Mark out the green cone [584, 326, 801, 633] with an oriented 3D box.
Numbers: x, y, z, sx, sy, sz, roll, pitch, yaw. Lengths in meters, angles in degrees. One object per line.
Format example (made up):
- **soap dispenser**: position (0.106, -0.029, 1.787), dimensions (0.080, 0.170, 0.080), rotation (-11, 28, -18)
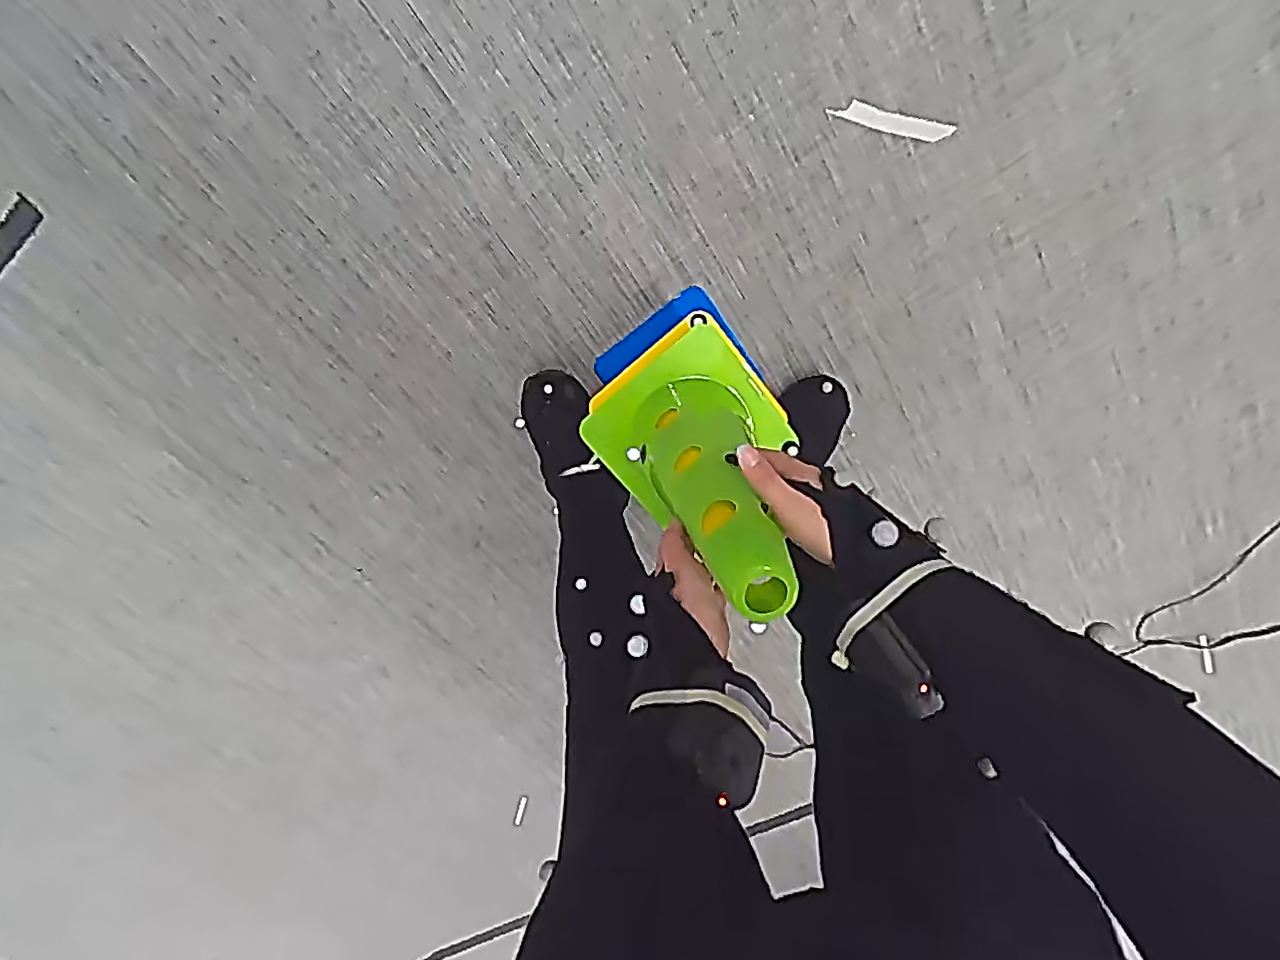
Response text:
- **green cone**: position (0.066, 0.007, 0.478), dimensions (0.202, 0.368, 0.200), rotation (-39, 106, 12)
